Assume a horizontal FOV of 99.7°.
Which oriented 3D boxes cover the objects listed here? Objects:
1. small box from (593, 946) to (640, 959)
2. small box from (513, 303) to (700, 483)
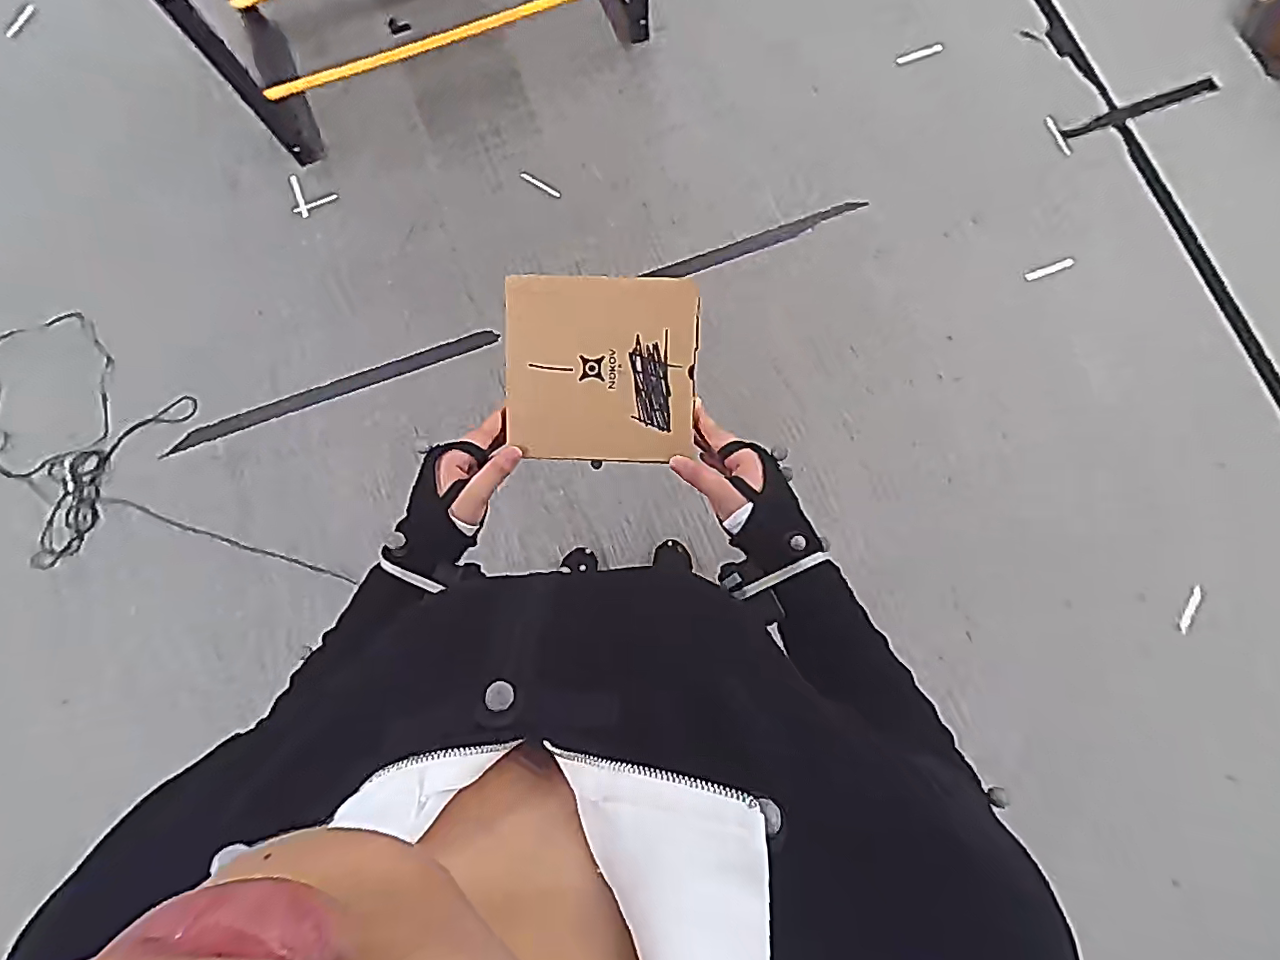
[{"bbox_3d":[-0.068,0.904,0.855,0.179,0.176,0.168,-22,81,-1],"label":"small box"},{"bbox_3d":[-0.033,-0.092,0.590,0.179,0.176,0.168,2,97,1],"label":"small box"}]
